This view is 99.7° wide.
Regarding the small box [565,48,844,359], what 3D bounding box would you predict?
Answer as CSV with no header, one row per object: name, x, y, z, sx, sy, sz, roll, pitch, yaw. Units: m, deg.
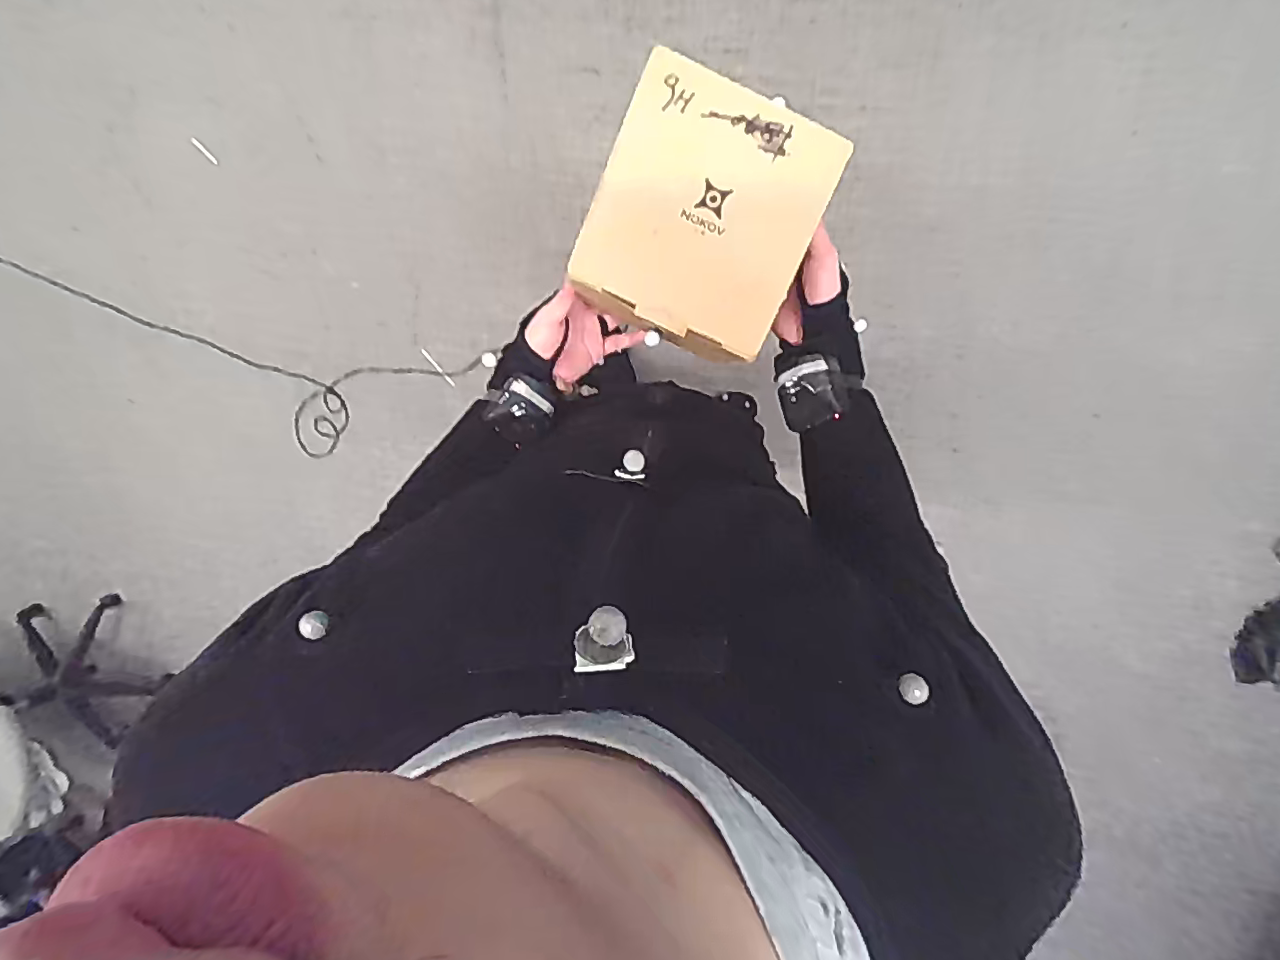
small box,0.048,-0.223,0.493,0.168,0.176,0.179,23,101,-6
